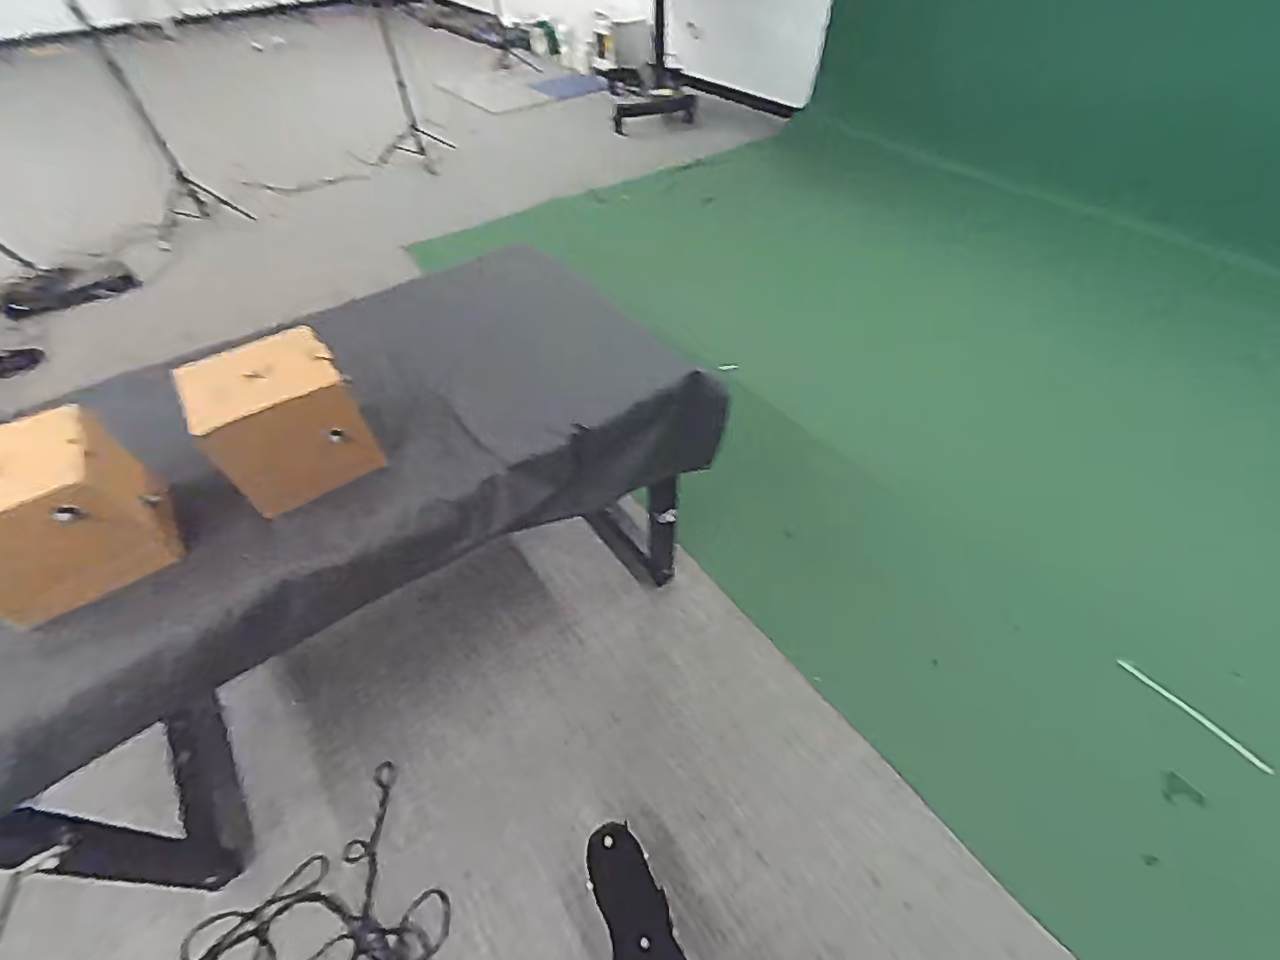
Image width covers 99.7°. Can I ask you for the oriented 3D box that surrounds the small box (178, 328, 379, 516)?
[{"bbox_3d":[-0.504,-0.083,0.778,0.179,0.176,0.168,-32,54,-22],"label":"small box"}]

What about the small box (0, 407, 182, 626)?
[{"bbox_3d":[-0.730,0.047,0.672,0.179,0.176,0.168,-31,55,-24],"label":"small box"}]
